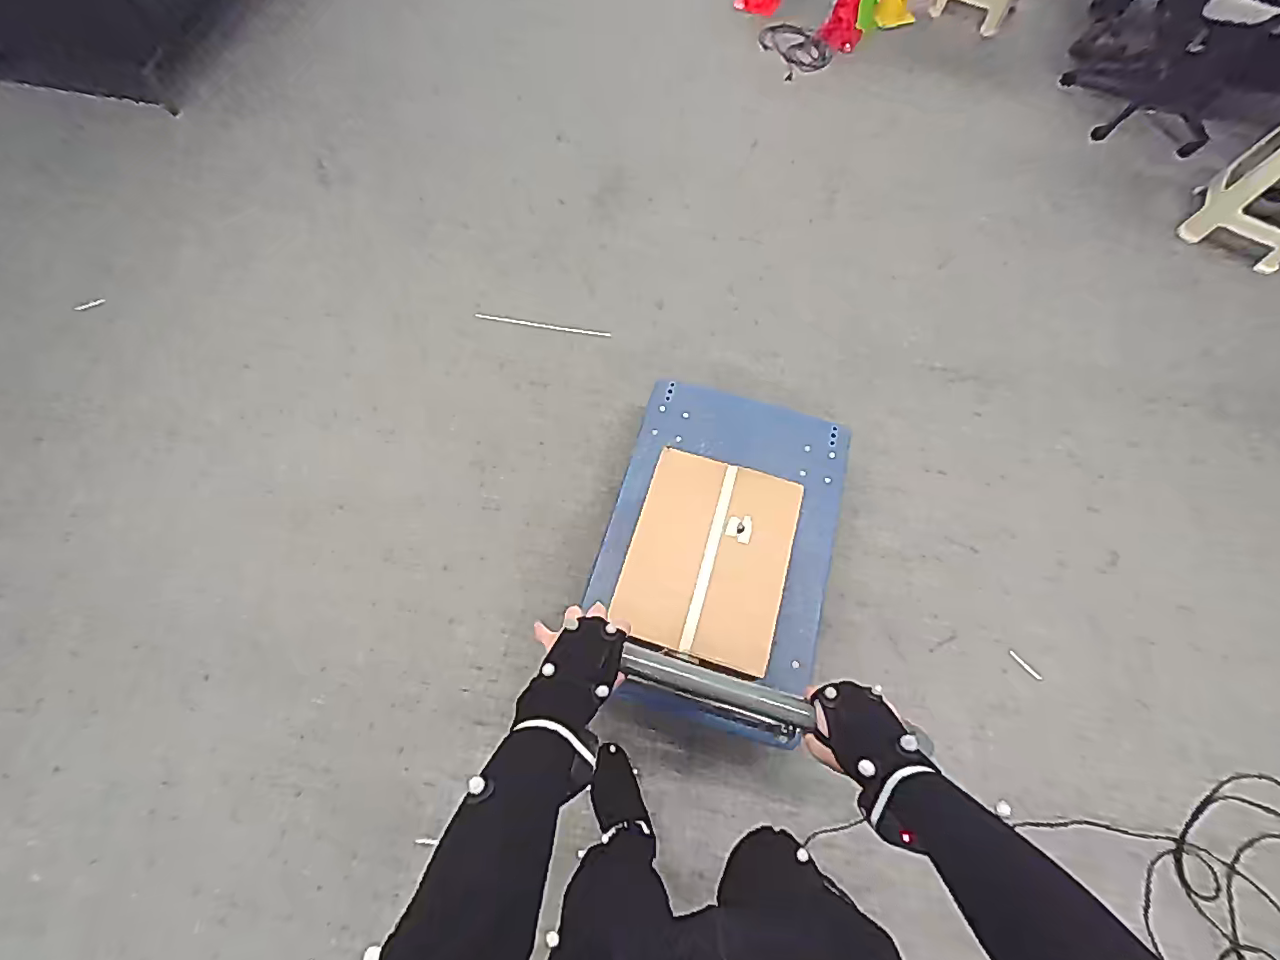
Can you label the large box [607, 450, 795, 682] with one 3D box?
[{"bbox_3d":[0.133,0.207,1.235,0.320,0.320,0.408,16,66,6],"label":"large box"}]
